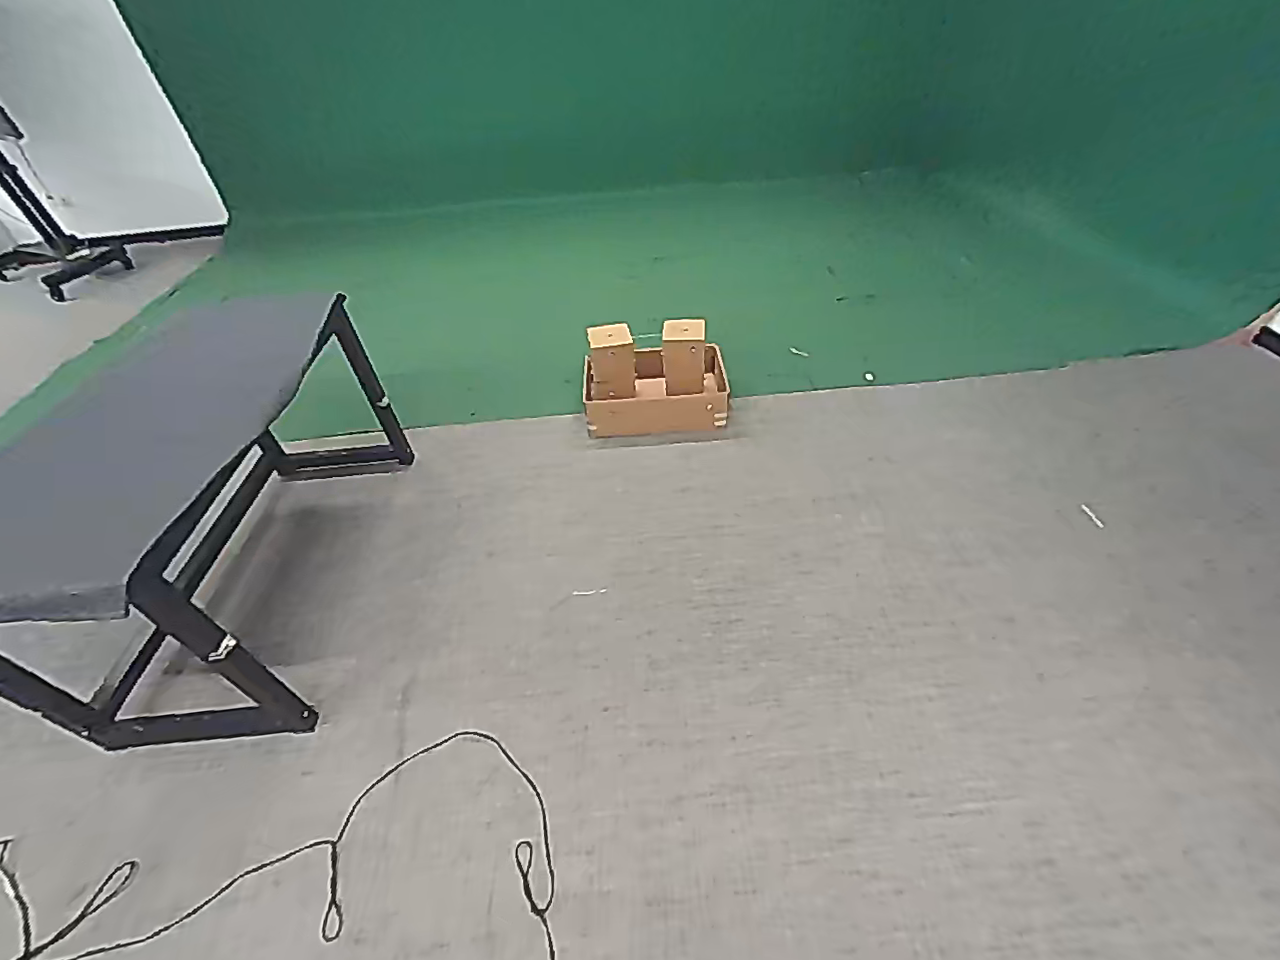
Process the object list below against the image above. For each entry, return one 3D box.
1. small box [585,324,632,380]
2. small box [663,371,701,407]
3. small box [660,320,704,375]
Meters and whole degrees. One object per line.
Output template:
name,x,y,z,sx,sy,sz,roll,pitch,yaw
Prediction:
small box,-0.132,-0.541,2.297,0.179,0.176,0.168,-9,46,-7
small box,0.190,-0.446,2.413,0.168,0.176,0.179,0,46,6
small box,0.181,-0.560,2.294,0.179,0.176,0.168,1,45,7
